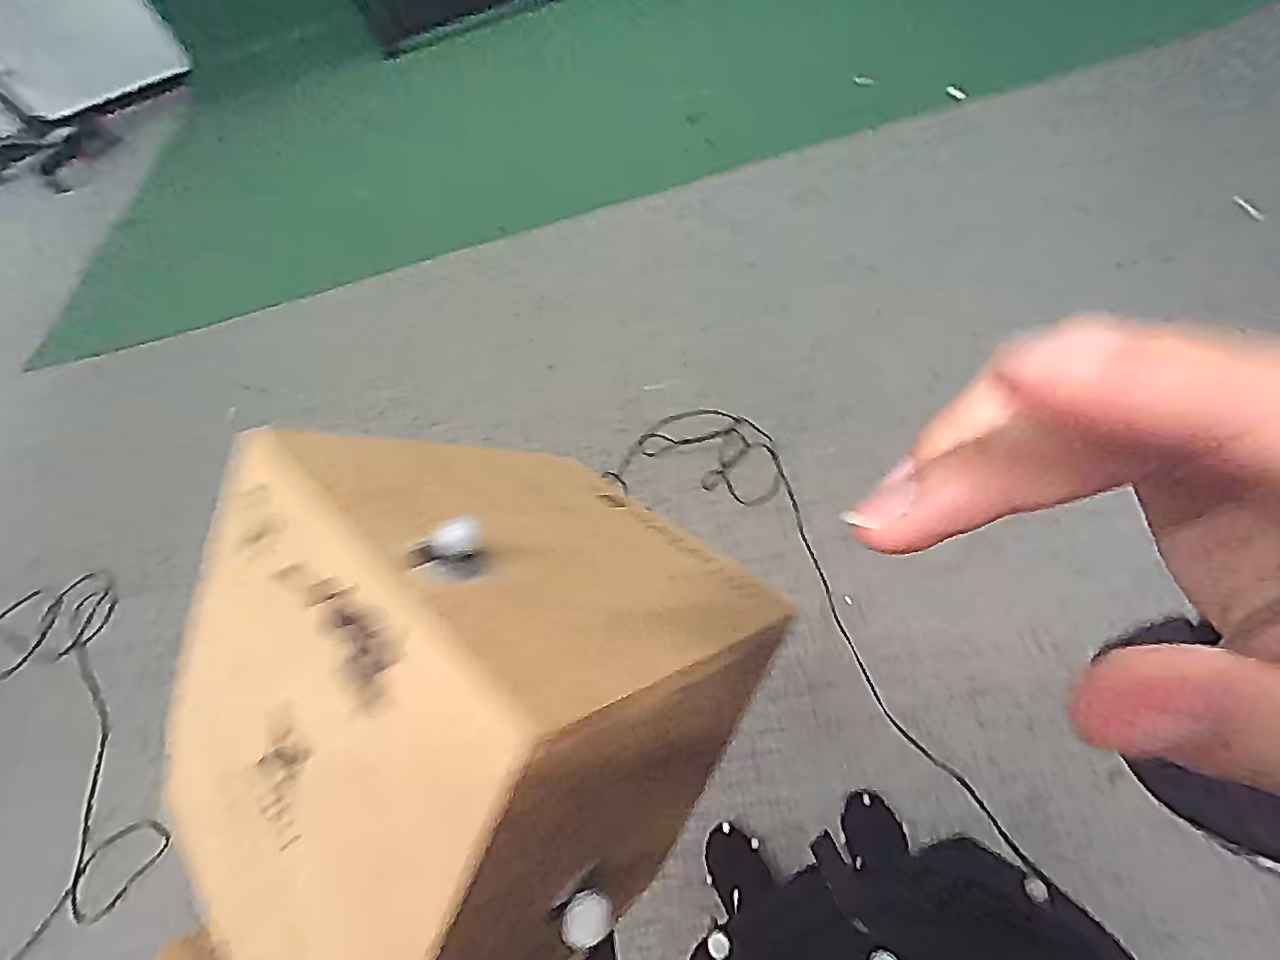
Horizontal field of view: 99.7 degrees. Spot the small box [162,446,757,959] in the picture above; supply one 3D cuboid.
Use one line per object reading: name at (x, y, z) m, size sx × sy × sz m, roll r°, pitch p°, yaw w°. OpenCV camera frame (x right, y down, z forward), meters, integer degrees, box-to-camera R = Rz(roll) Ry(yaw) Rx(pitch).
small box at (-0.073, 0.102, 0.242) m, size 0.168 × 0.176 × 0.179 m, roll 31°, pitch 105°, yaw 31°
